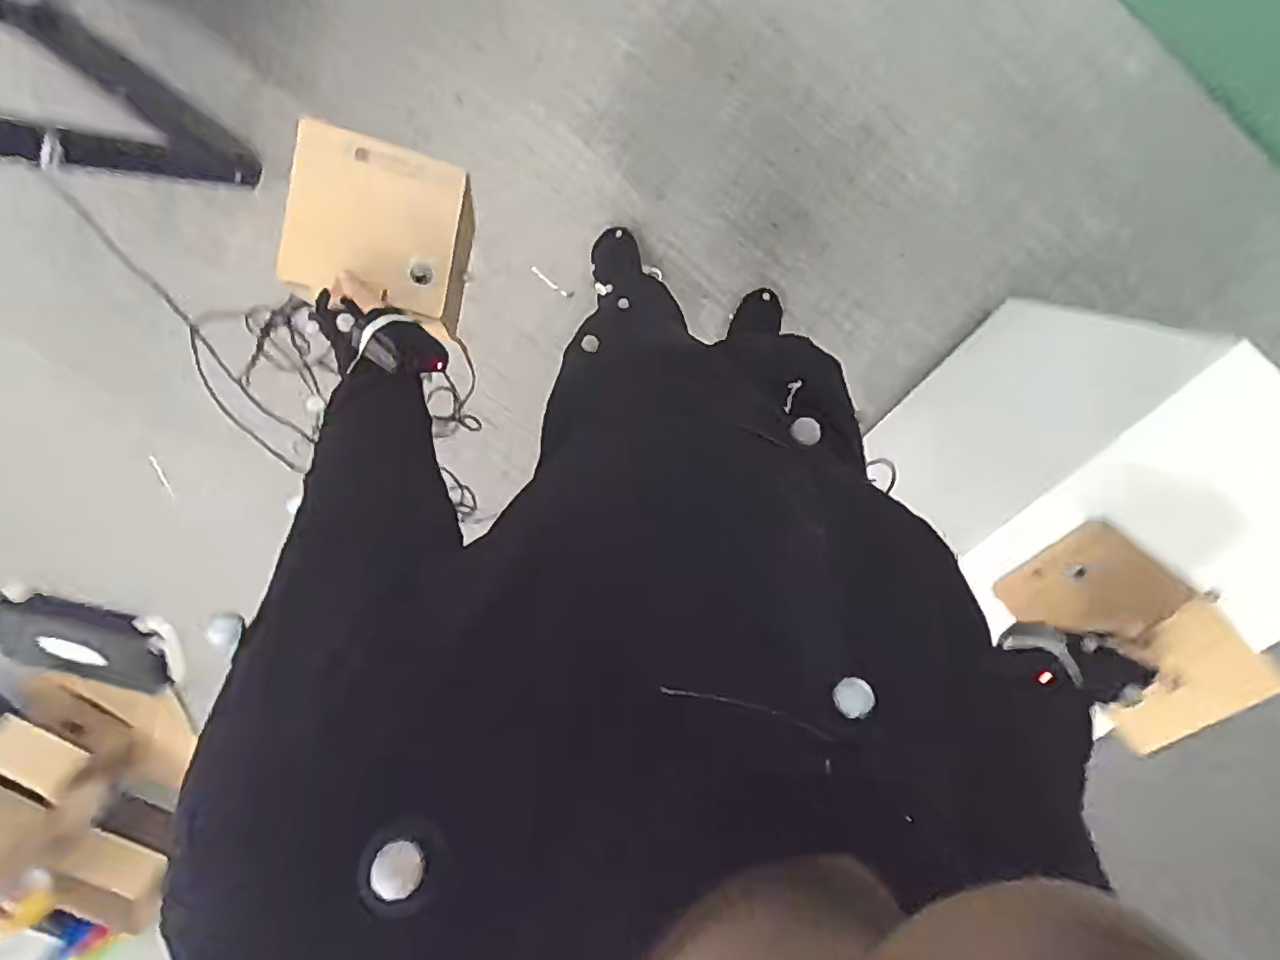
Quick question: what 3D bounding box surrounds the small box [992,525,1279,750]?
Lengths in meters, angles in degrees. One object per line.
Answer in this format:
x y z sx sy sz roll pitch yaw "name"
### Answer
0.598 0.189 0.680 0.179 0.176 0.168 40 113 -11 "small box"
